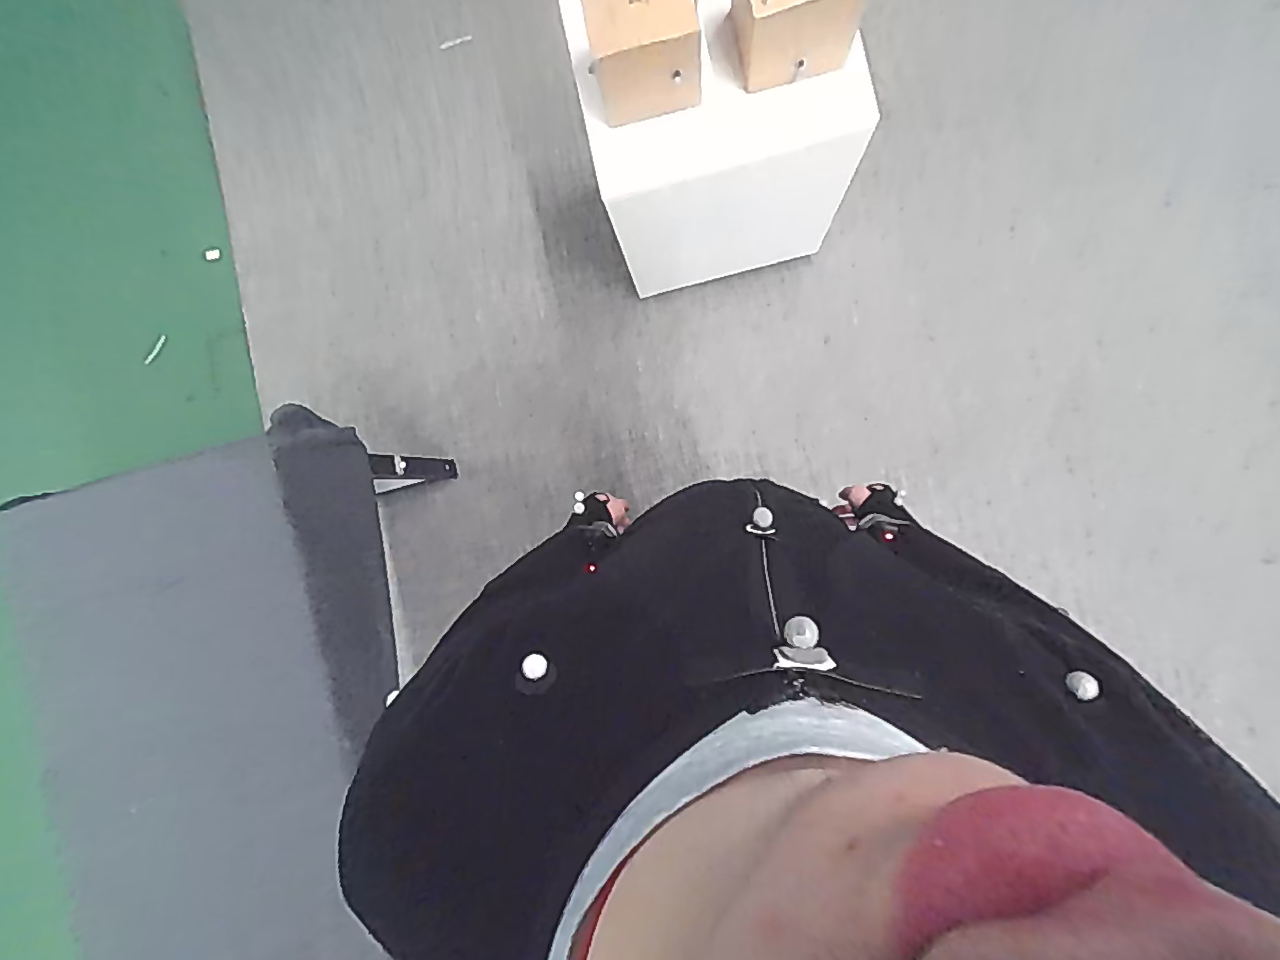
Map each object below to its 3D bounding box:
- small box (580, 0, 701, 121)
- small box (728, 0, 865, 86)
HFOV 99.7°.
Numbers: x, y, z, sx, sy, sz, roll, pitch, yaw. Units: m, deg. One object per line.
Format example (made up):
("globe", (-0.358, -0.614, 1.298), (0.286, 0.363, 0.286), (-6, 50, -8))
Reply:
("small box", (0.001, -0.745, 0.898), (0.179, 0.176, 0.168), (-11, 88, 6))
("small box", (0.246, -0.786, 0.871), (0.179, 0.176, 0.168), (-11, 89, 6))
